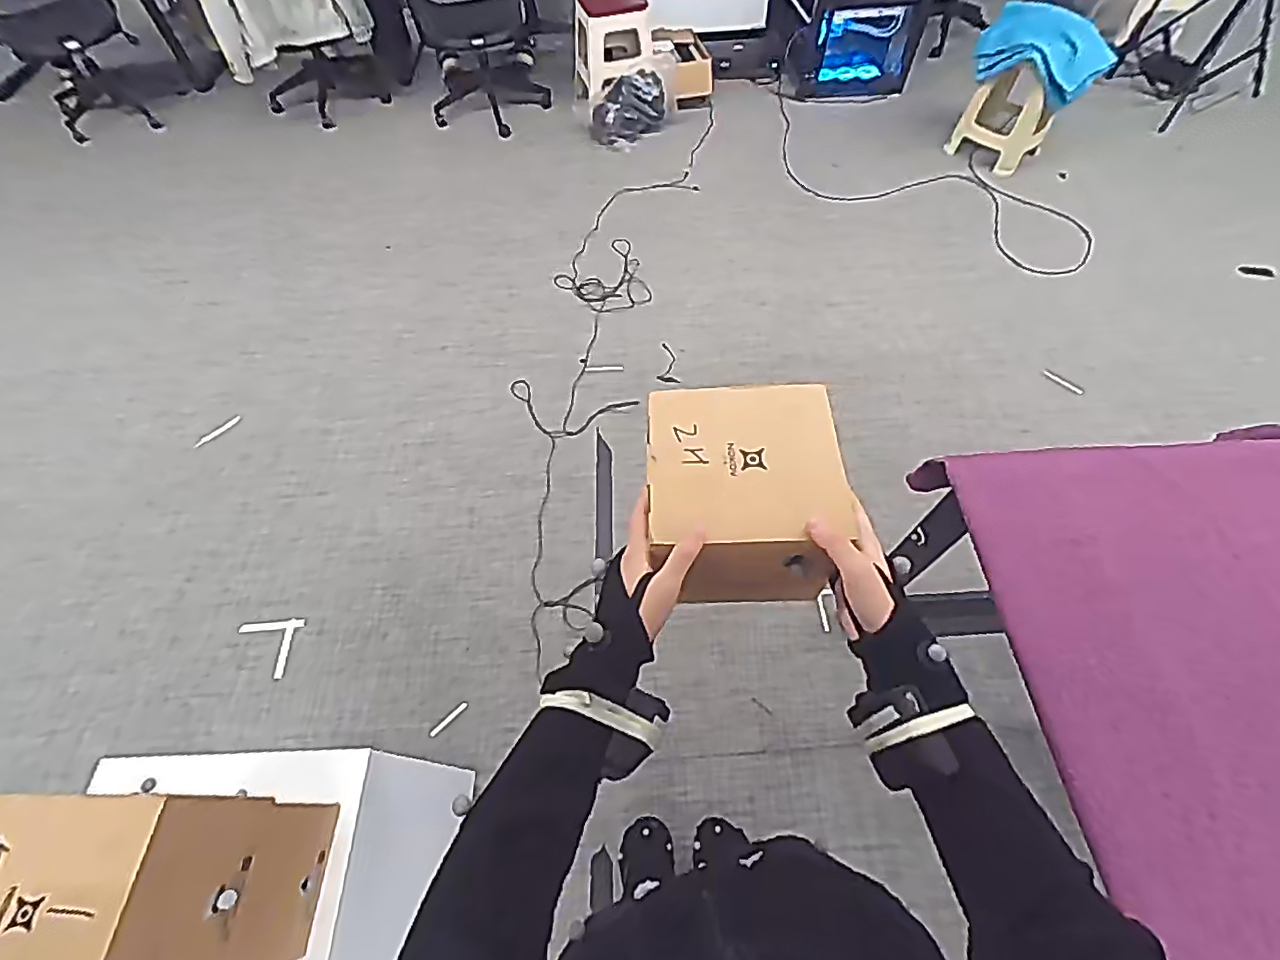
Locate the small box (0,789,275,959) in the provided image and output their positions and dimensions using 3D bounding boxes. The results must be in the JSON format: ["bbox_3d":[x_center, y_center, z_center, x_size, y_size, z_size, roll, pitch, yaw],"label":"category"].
[{"bbox_3d":[-0.497,0.387,0.504,0.179,0.176,0.168,0,59,0],"label":"small box"}]

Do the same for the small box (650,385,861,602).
[{"bbox_3d":[0.100,0.021,0.553,0.179,0.176,0.168,-2,60,4],"label":"small box"}]
